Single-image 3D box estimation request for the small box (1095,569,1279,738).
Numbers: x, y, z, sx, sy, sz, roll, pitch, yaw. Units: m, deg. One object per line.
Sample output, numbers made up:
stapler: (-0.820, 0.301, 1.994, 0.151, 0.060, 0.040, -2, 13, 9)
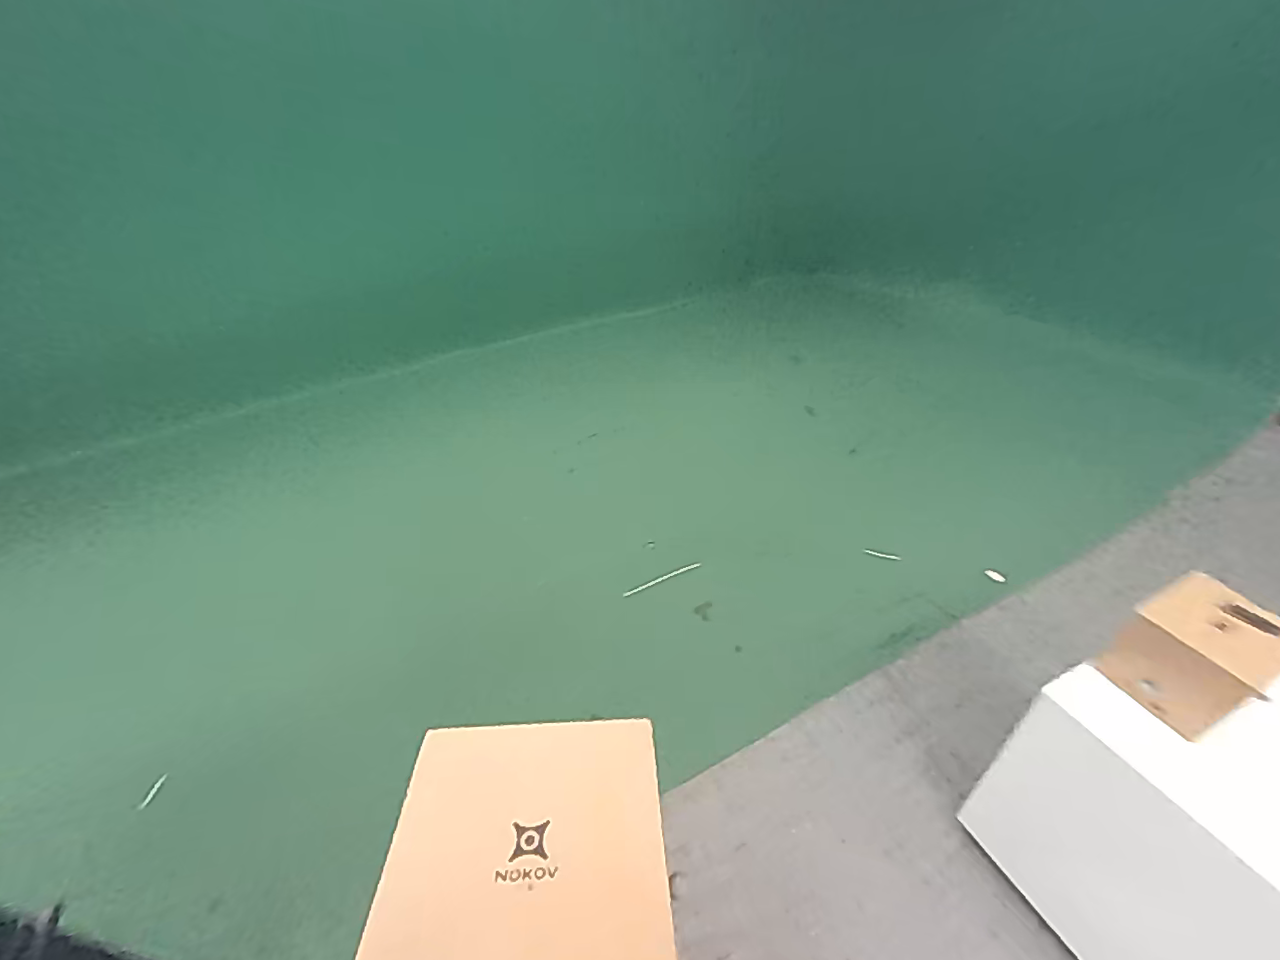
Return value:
small box: (0.916, 0.285, 0.894, 0.179, 0.176, 0.168, -20, 41, -16)
